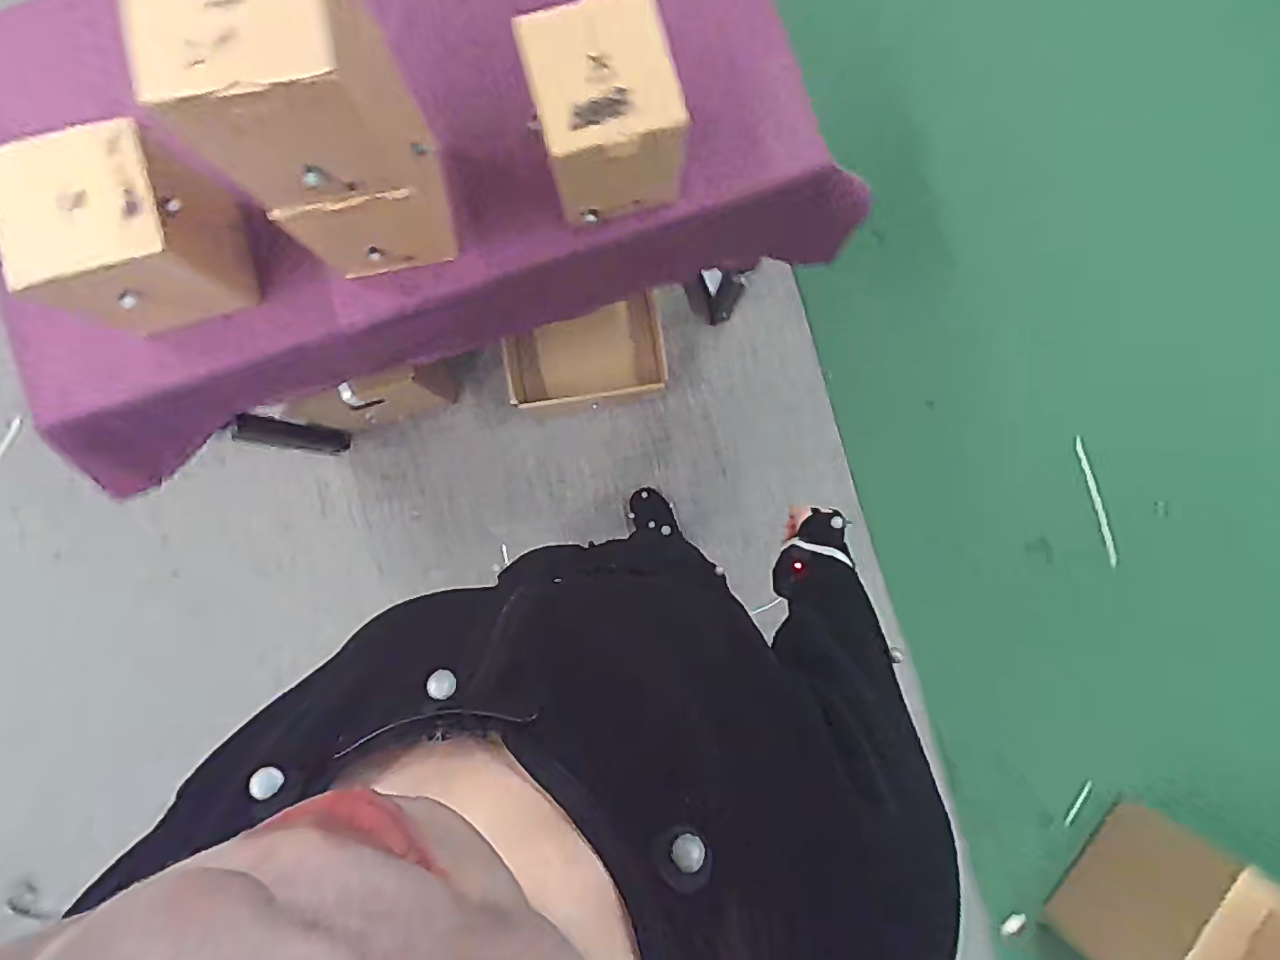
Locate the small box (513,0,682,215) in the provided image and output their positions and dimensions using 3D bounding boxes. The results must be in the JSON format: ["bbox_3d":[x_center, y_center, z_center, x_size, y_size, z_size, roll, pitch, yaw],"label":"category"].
[{"bbox_3d":[-0.050,-0.479,0.713,0.168,0.176,0.179,-16,88,-2],"label":"small box"}]

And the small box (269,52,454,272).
[{"bbox_3d":[-0.360,-0.399,0.705,0.168,0.176,0.179,-11,89,-1],"label":"small box"}]

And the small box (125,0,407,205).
[{"bbox_3d":[-0.357,-0.411,0.541,0.168,0.176,0.179,-10,89,-1],"label":"small box"}]

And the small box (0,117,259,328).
[{"bbox_3d":[-0.645,-0.312,0.693,0.179,0.176,0.168,-16,89,-1],"label":"small box"}]
